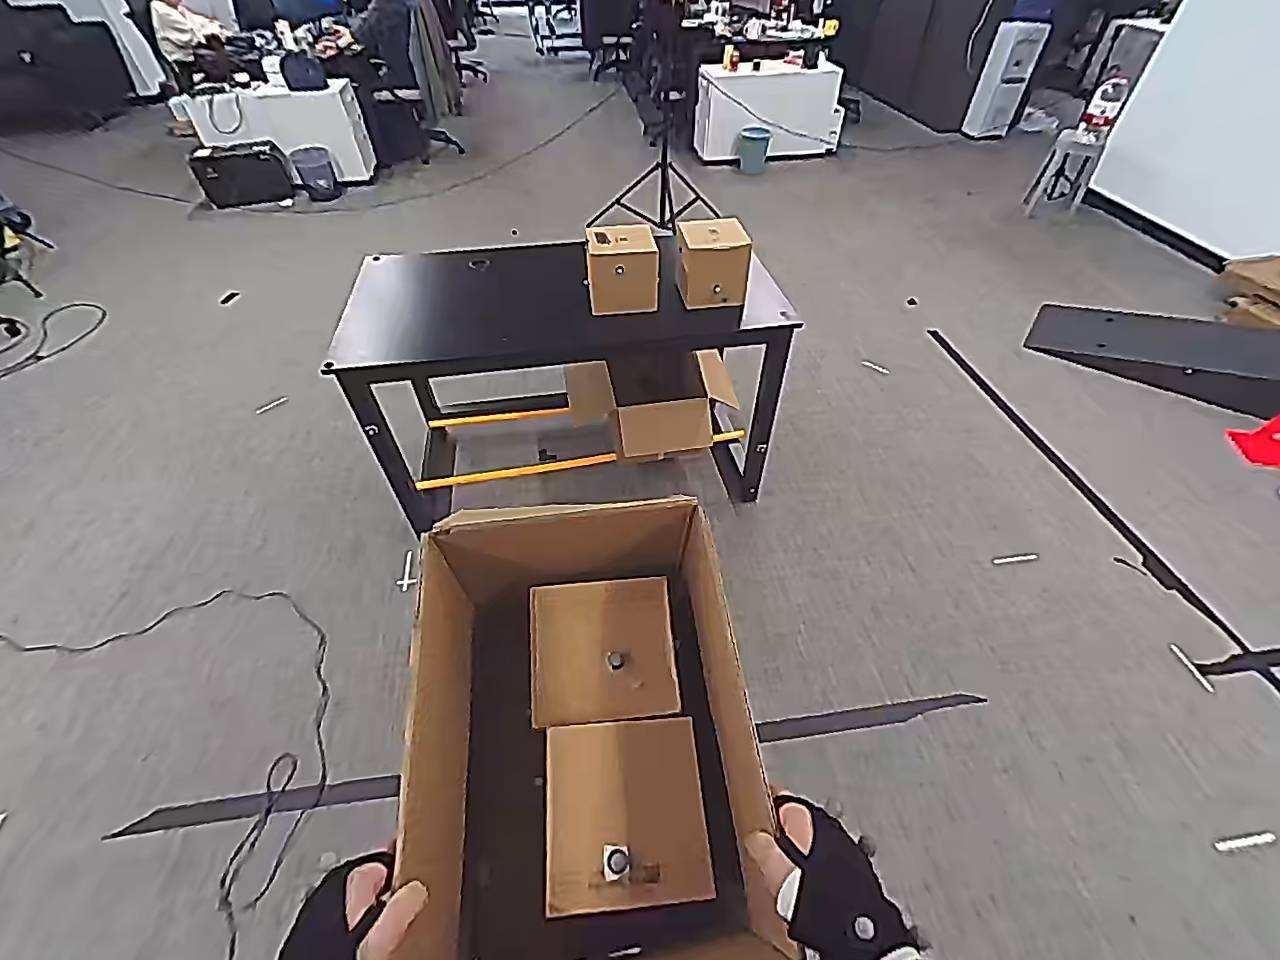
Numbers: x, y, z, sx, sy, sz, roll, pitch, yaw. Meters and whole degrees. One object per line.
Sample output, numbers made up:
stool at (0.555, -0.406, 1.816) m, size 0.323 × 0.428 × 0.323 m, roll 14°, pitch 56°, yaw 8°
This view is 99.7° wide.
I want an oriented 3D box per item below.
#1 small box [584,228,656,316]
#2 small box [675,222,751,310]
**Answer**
small box at (-0.052, -0.555, 1.451) m, size 0.179 × 0.176 × 0.168 m, roll -5°, pitch 47°, yaw -5°
small box at (0.191, -0.582, 1.471) m, size 0.168 × 0.176 × 0.179 m, roll -6°, pitch 47°, yaw -4°
